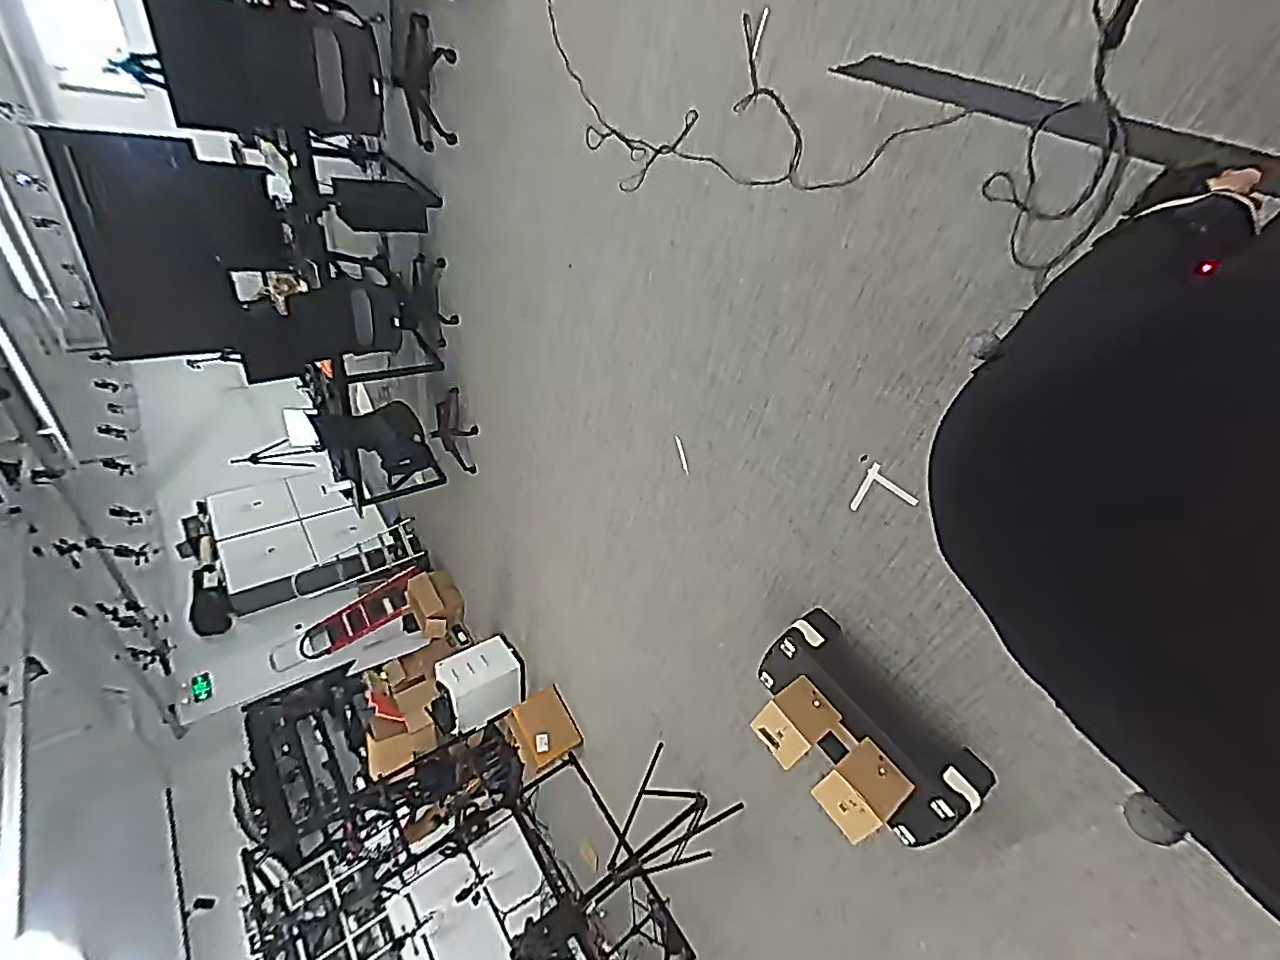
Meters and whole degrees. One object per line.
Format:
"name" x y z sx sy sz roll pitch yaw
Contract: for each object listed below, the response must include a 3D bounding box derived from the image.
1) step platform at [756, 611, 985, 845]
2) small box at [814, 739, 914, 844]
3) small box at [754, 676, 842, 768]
"step platform" 0.688 0.765 1.716 0.684 0.204 0.286 45 138 32
"small box" 0.636 0.878 1.533 0.168 0.176 0.179 46 138 31
"small box" 0.490 0.744 1.672 0.168 0.176 0.179 47 137 30
